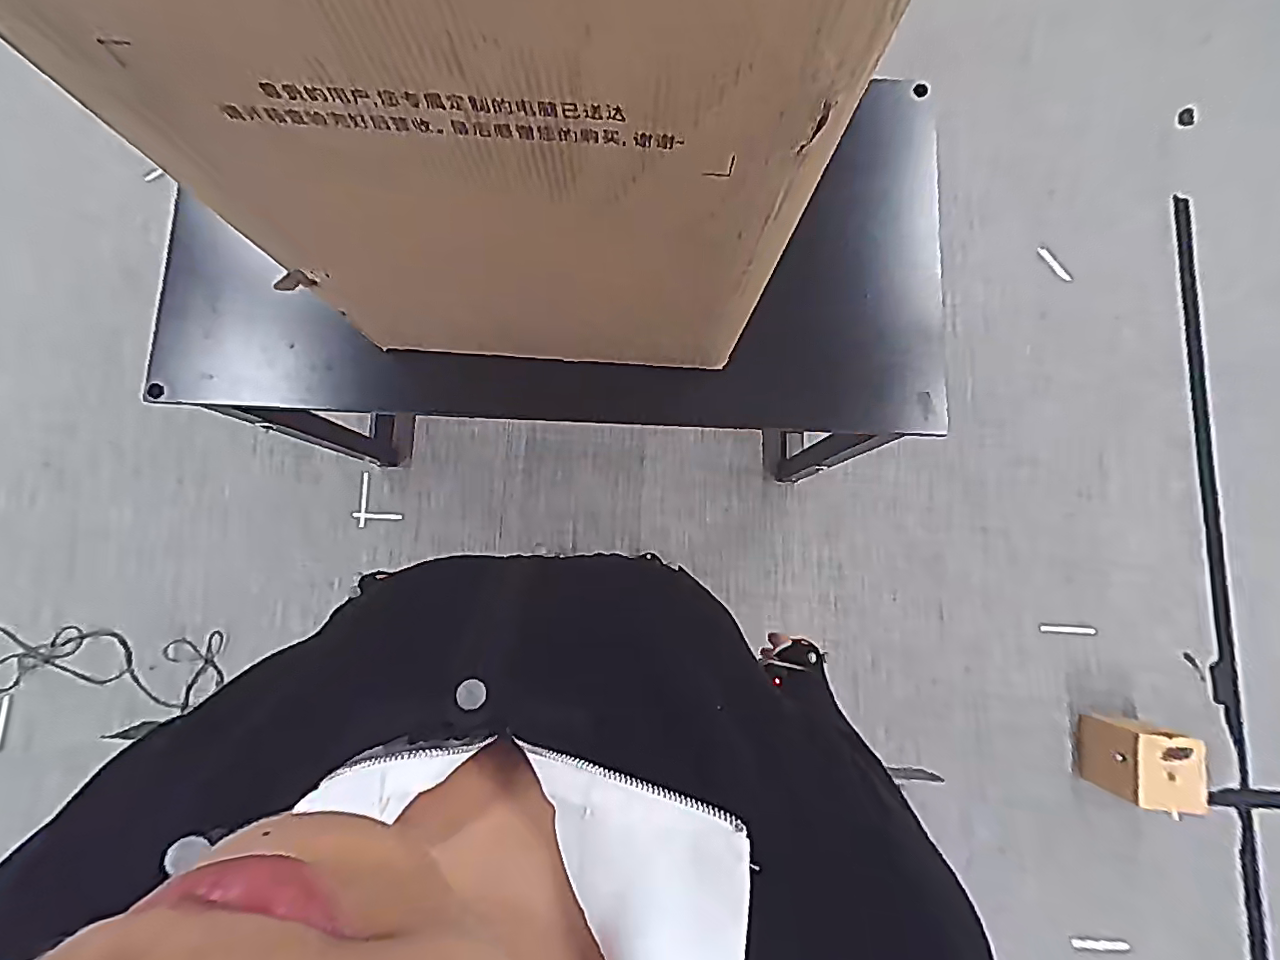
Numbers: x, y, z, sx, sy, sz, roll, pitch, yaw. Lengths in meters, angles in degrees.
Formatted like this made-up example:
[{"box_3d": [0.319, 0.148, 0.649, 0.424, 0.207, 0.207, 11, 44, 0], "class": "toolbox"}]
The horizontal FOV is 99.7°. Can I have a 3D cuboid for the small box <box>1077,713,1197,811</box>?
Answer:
[{"box_3d": [1.276, 0.720, 1.399, 0.168, 0.176, 0.179, 6, 84, 0], "class": "small box"}]
